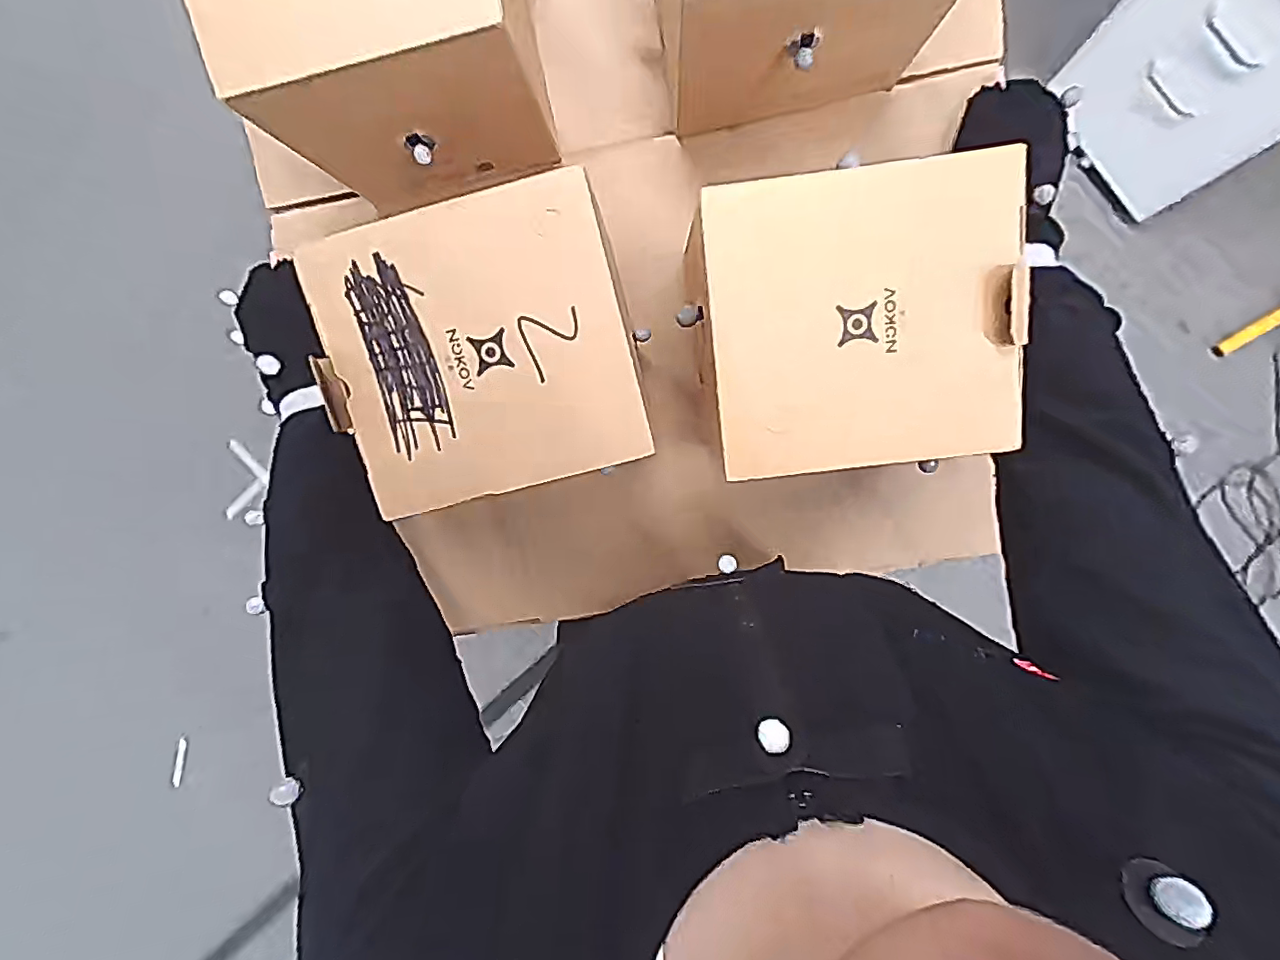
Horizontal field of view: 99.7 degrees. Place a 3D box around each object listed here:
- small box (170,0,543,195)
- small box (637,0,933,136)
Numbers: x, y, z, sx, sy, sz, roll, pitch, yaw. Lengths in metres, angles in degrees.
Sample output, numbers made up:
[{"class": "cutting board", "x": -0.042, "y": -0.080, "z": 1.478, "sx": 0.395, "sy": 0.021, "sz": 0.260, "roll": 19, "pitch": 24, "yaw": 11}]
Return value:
[{"class": "small box", "x": -0.174, "y": -0.314, "z": 0.360, "sx": 0.168, "sy": 0.176, "sz": 0.179, "roll": -12, "pitch": 98, "yaw": 3}, {"class": "small box", "x": 0.084, "y": -0.356, "z": 0.342, "sx": 0.179, "sy": 0.176, "sz": 0.168, "roll": -11, "pitch": 99, "yaw": 5}]
